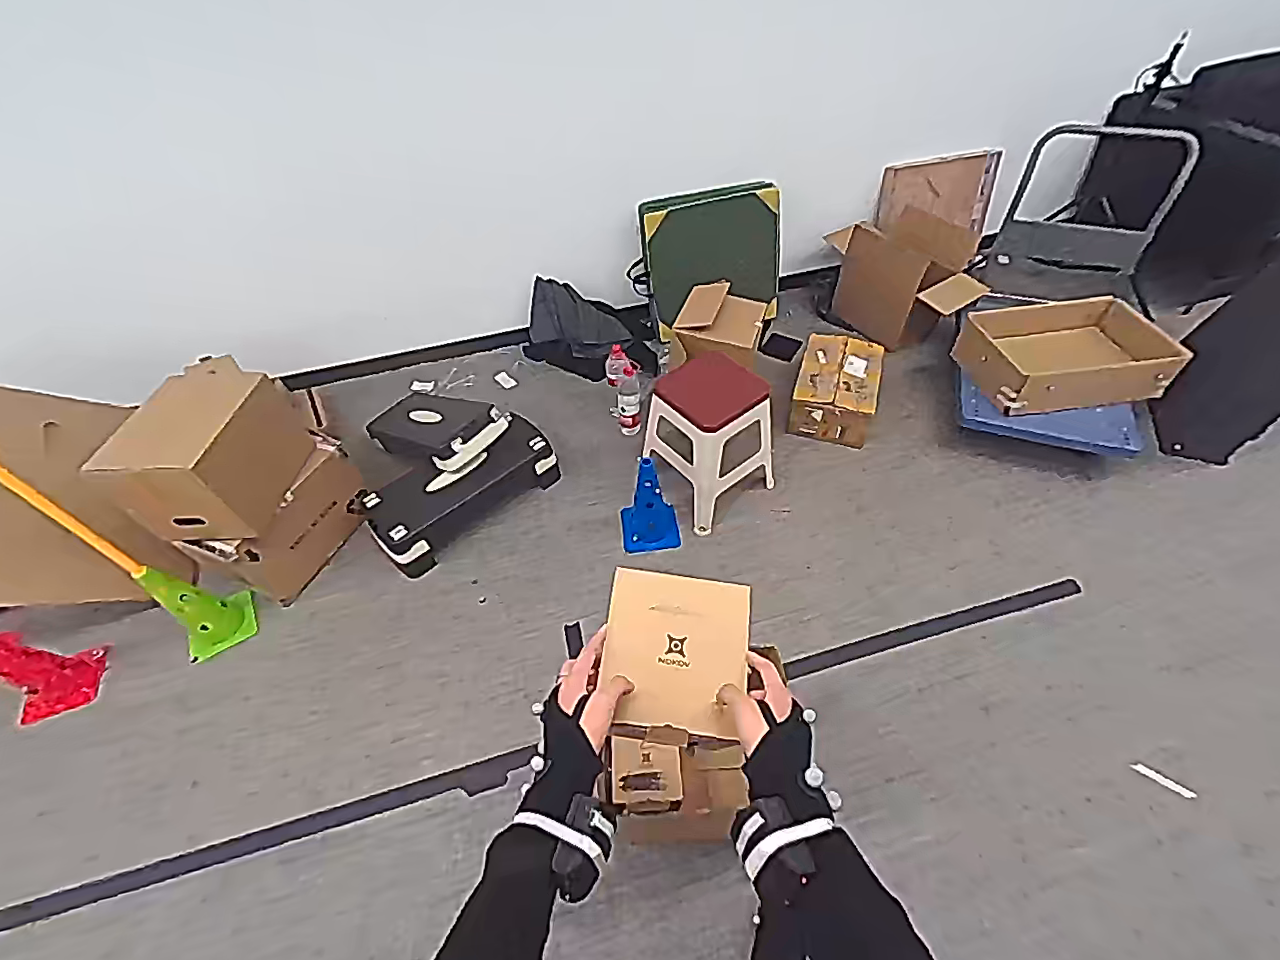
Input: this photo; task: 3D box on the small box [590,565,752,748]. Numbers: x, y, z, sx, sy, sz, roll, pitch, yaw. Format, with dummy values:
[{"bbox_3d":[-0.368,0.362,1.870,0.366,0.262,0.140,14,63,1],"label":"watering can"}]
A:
[{"bbox_3d":[0.036,0.229,0.681,0.168,0.176,0.179,10,61,1],"label":"small box"}]
